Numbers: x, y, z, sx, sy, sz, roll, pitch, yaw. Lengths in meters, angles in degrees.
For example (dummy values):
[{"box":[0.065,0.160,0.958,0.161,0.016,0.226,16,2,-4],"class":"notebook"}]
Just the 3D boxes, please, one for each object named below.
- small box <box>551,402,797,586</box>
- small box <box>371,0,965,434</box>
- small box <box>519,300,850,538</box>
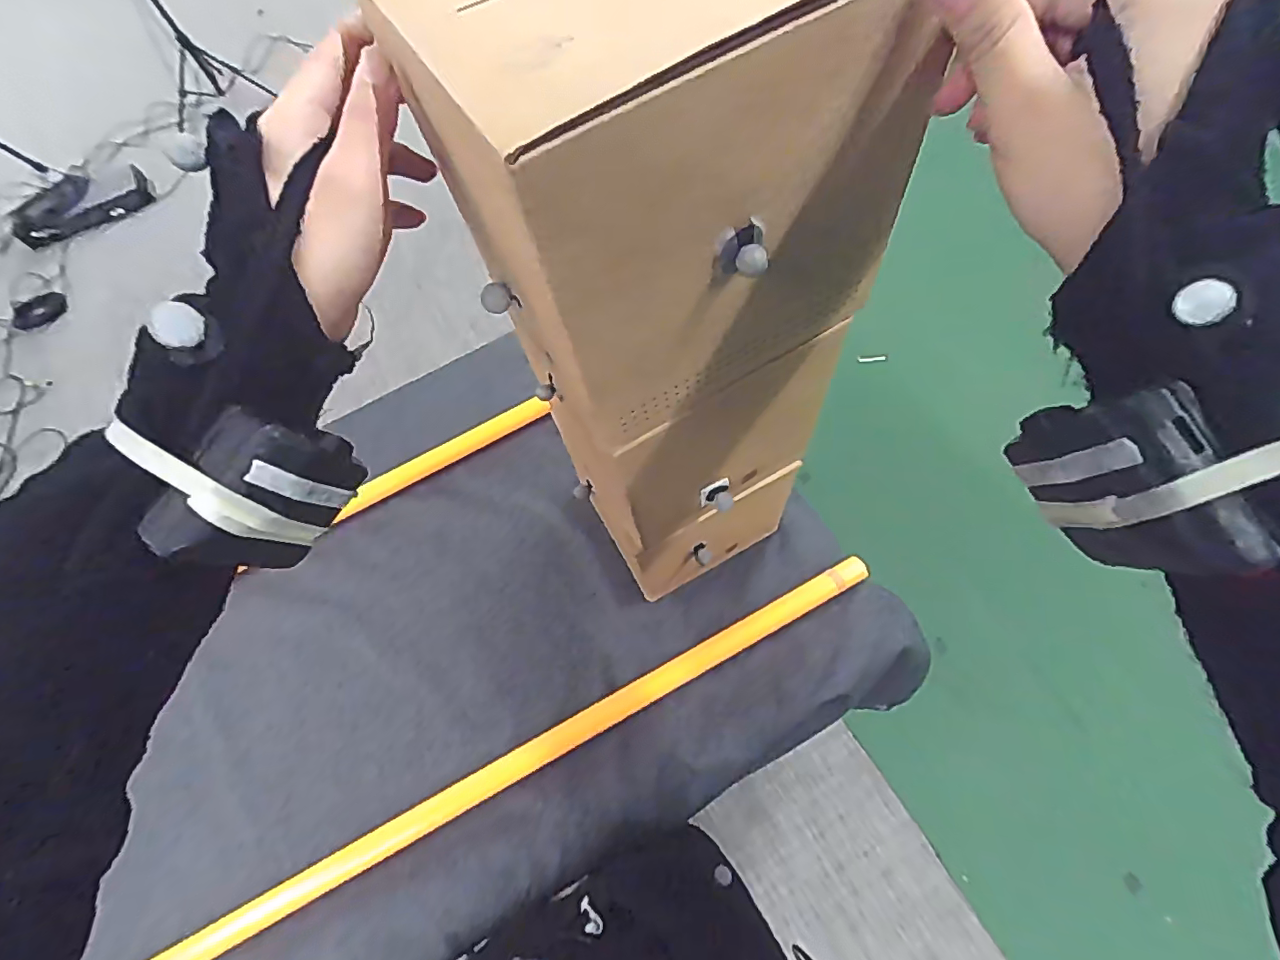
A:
[{"box":[0.034,-0.008,0.557,0.168,0.176,0.179,-29,64,-8],"class":"small box"},{"box":[0.006,-0.156,0.266,0.179,0.176,0.168,-31,63,-7],"class":"small box"},{"box":[0.021,-0.085,0.414,0.168,0.176,0.179,-31,65,-8],"class":"small box"}]
